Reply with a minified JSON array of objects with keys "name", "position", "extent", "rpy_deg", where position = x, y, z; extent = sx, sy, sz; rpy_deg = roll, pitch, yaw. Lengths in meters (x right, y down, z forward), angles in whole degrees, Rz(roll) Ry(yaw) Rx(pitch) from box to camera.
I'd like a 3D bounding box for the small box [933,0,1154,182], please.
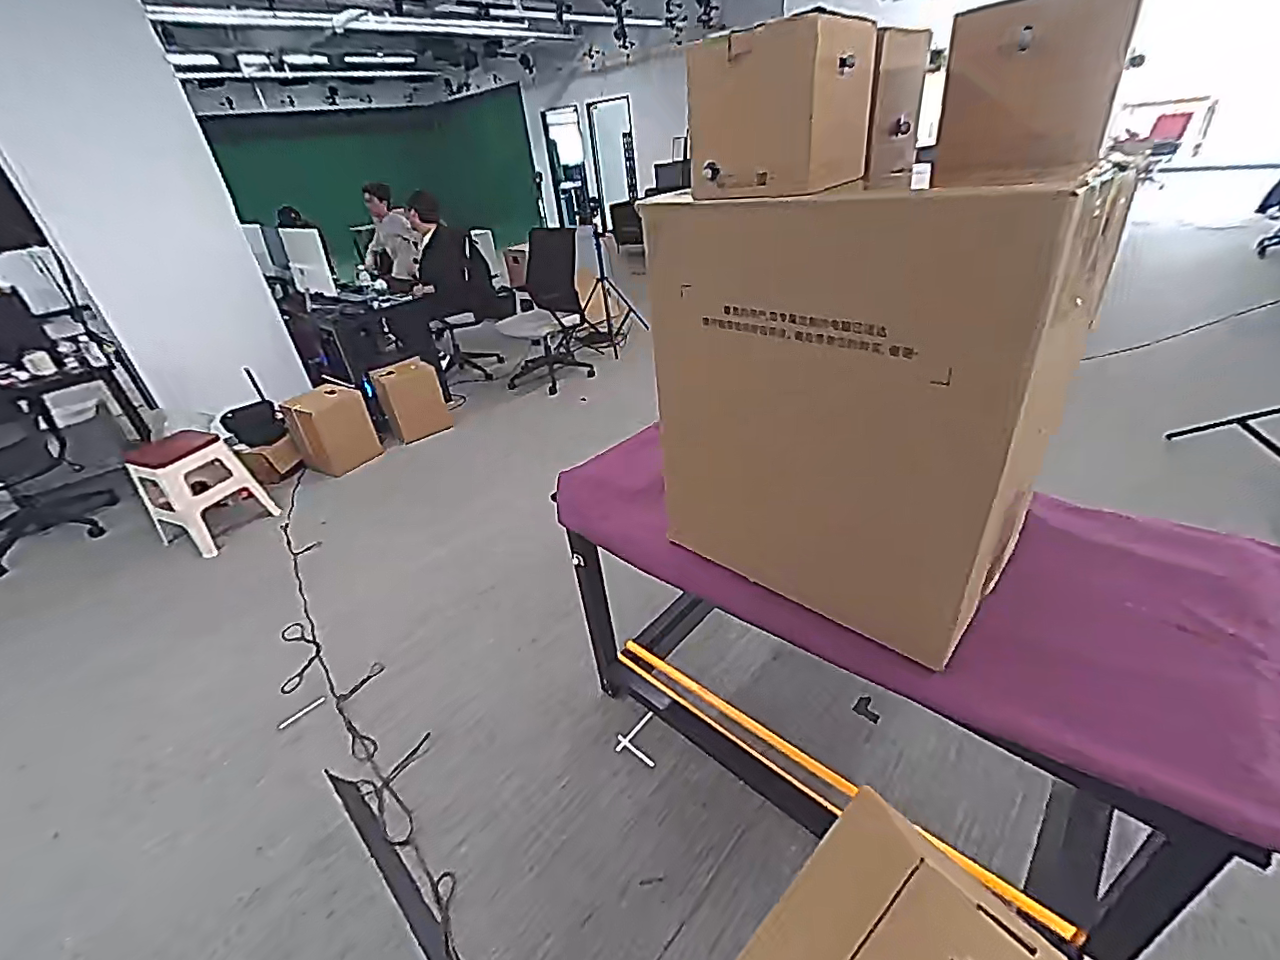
[{"name":"small box","position":[0.483,-0.474,0.659],"extent":[0.179,0.176,0.168],"rpy_deg":[17,39,36]}]
